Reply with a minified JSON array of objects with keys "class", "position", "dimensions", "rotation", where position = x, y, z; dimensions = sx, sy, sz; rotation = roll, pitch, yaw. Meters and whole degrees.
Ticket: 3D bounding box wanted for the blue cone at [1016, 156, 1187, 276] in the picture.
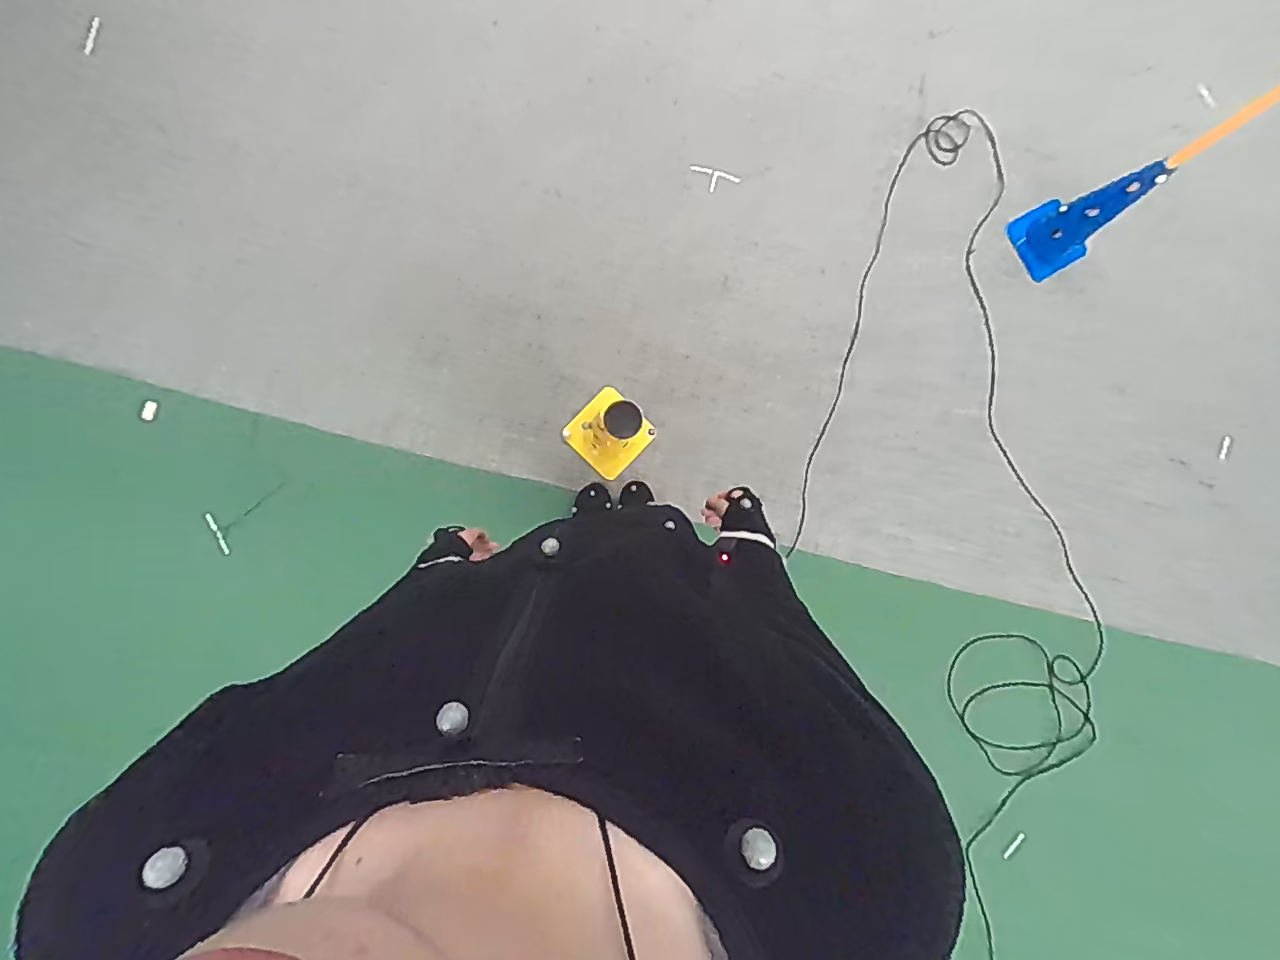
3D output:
[{"class":"blue cone","position":[1.236,-0.733,1.439],"dimensions":[0.193,0.380,0.192],"rotation":[-31,90,-6]}]
